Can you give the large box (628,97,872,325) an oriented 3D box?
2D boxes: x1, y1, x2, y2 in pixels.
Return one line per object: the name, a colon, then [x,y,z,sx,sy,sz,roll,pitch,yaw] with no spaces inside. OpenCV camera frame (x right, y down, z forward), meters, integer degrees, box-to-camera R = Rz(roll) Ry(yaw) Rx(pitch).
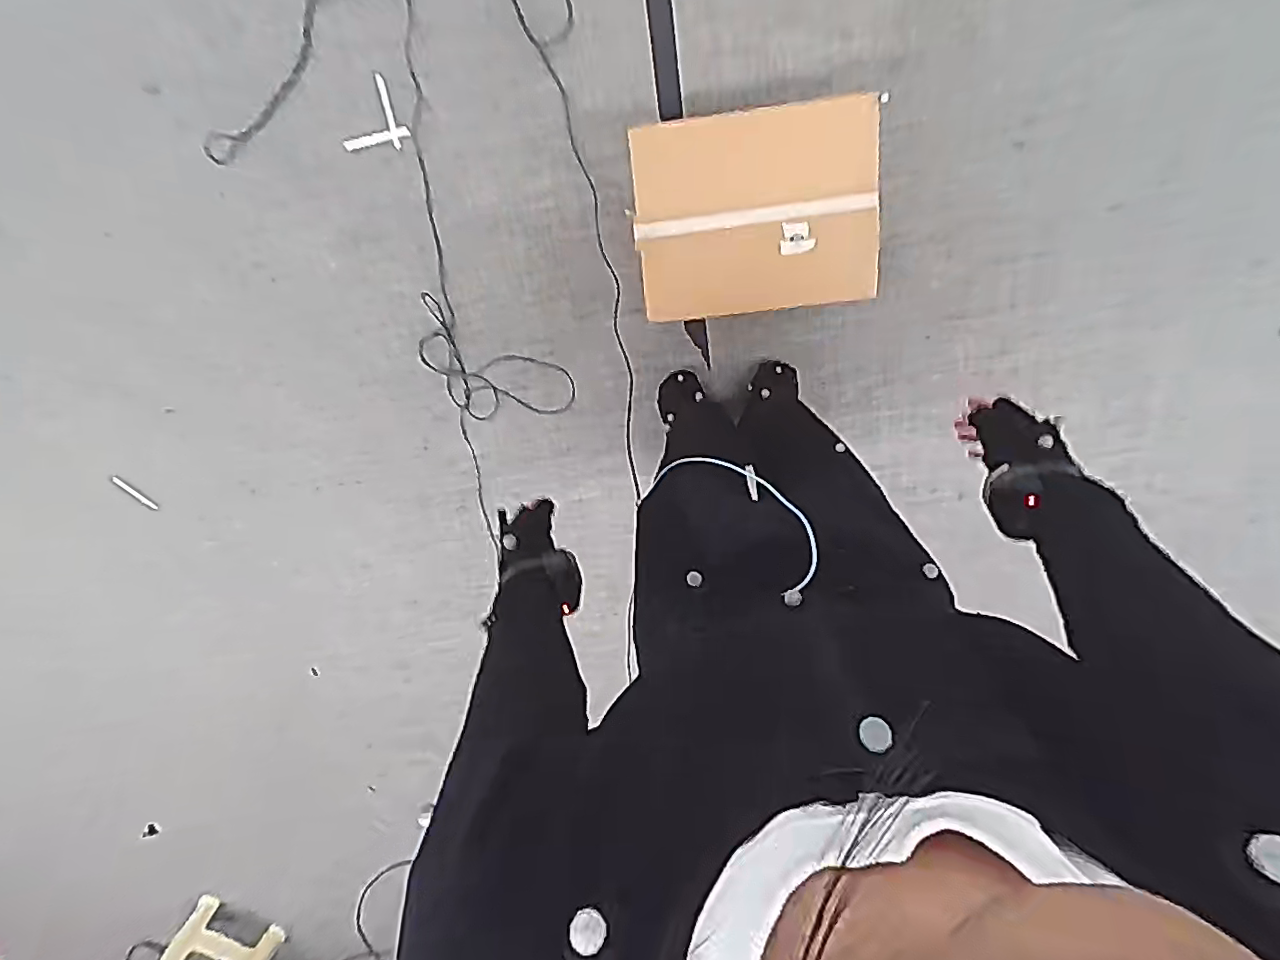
large box: [0.201,-0.494,1.072,0.408,0.320,0.320,-6,107,5]
